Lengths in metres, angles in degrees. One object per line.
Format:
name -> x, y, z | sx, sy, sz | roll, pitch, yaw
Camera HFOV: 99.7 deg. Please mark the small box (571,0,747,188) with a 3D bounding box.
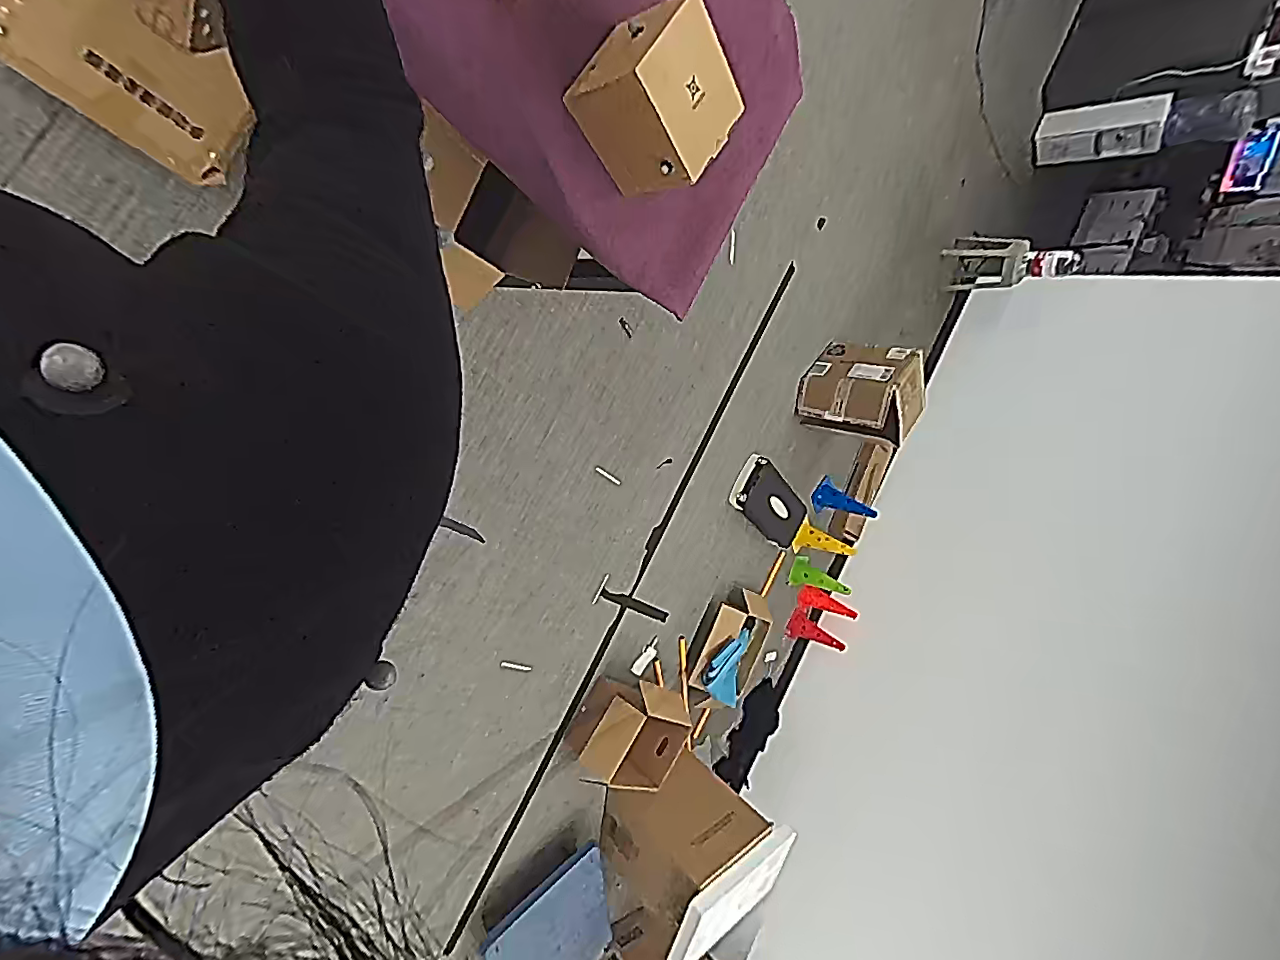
small box -> 0.027, -0.576, 0.825 | 0.179, 0.176, 0.168 | 42, 75, -46
